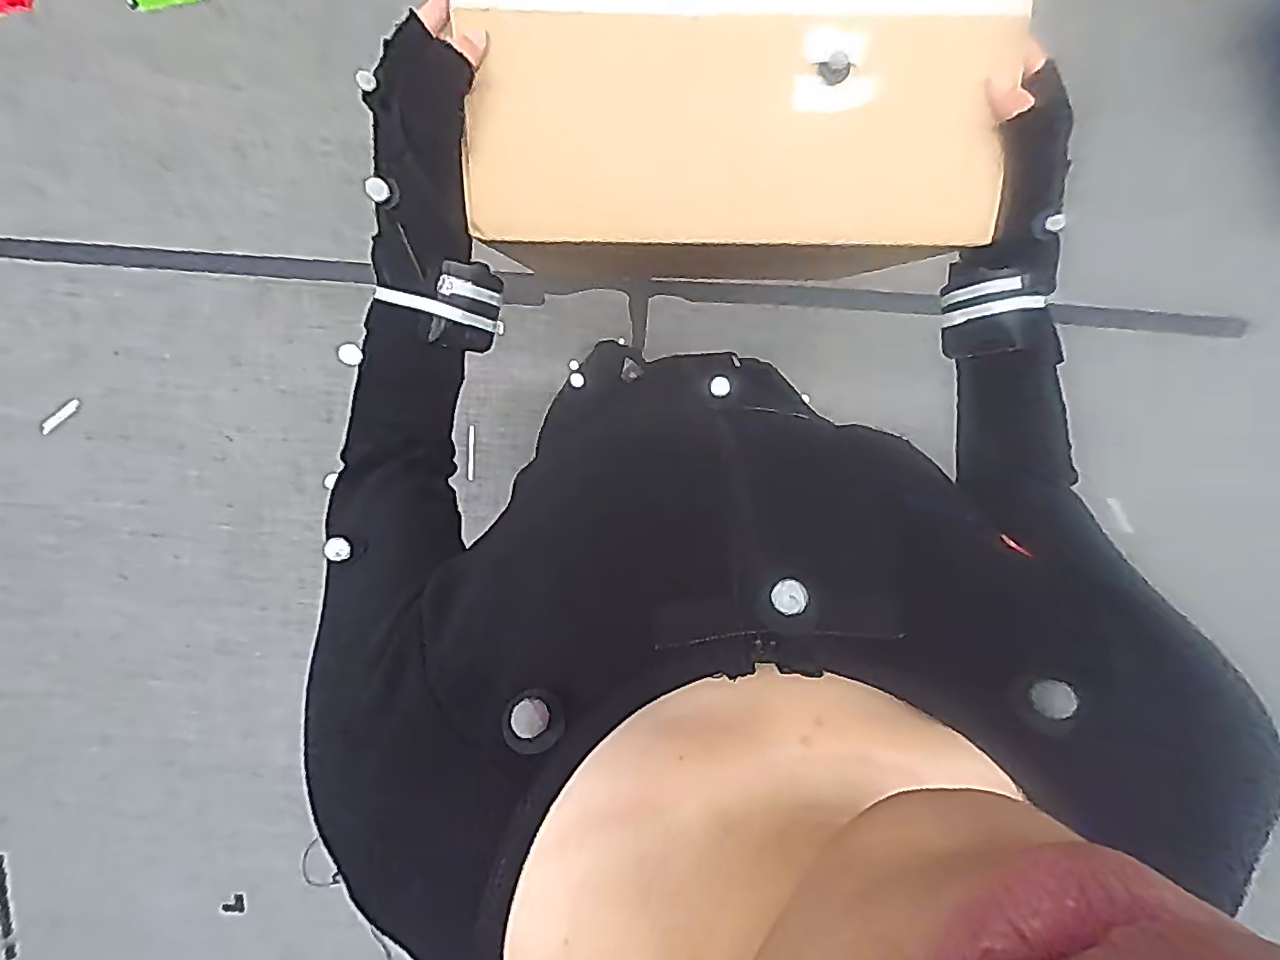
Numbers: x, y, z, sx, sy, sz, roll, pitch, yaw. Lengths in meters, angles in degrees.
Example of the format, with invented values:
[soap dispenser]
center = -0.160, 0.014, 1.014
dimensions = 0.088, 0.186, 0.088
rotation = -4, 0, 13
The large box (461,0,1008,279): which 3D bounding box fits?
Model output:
[large box]
center = 0.064, -0.380, 0.532
dimensions = 0.408, 0.320, 0.320
rotation = 0, 105, -2
